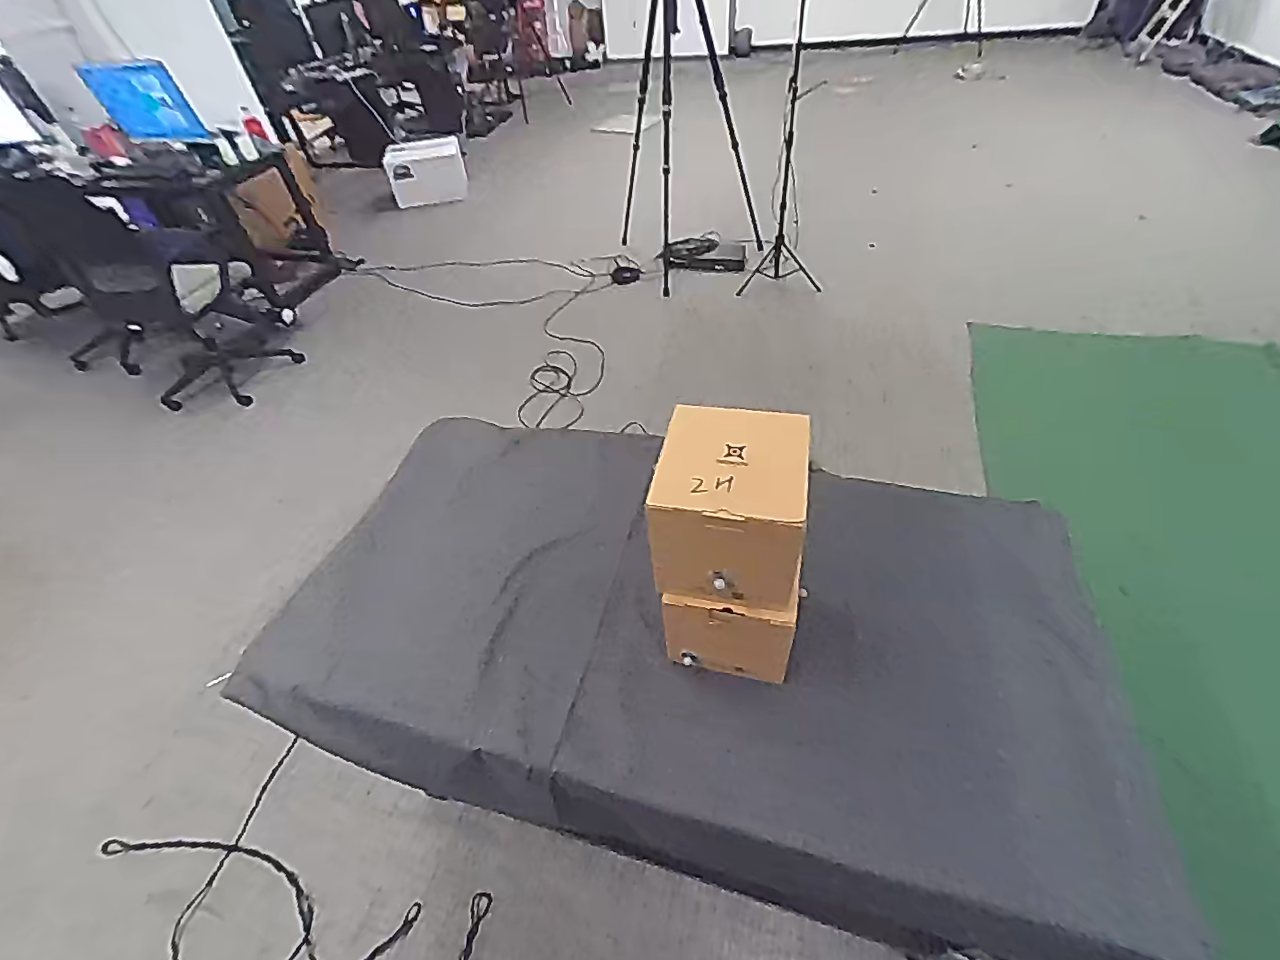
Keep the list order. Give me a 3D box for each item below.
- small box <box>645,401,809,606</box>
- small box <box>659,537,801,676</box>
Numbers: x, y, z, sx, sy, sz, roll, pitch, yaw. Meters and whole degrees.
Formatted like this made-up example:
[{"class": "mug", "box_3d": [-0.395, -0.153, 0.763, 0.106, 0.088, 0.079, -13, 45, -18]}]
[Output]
[{"class": "small box", "box_3d": [0.109, 0.028, 0.663, 0.168, 0.176, 0.179, 6, 48, 13]}, {"class": "small box", "box_3d": [0.132, 0.153, 0.768, 0.168, 0.176, 0.179, 8, 47, 14]}]
